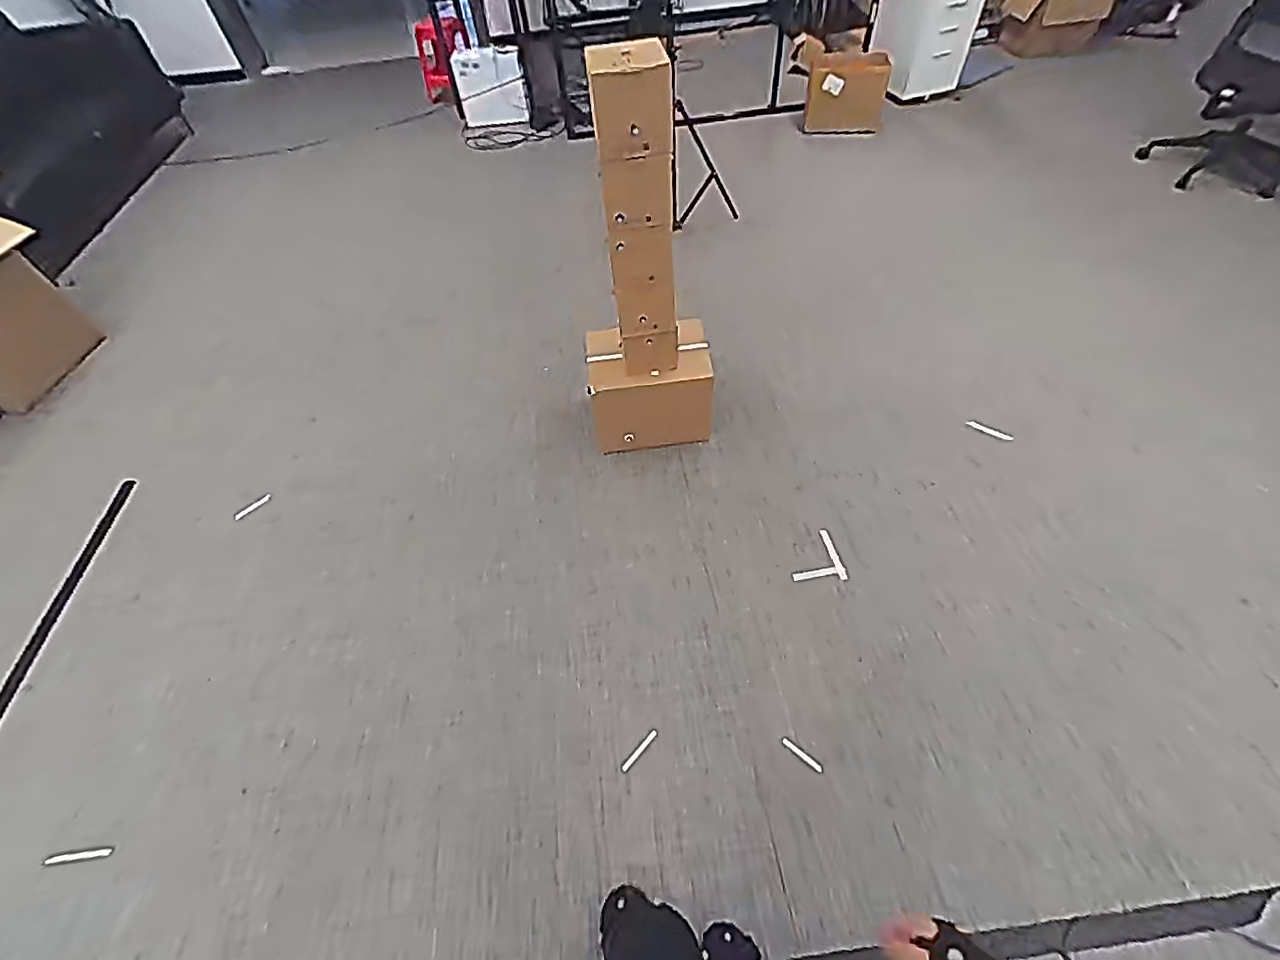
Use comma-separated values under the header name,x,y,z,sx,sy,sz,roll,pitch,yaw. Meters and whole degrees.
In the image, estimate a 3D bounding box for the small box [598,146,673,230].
name,x,y,z,sx,sy,sz,roll,pitch,yaw
small box,-0.010,-0.737,1.338,0.168,0.176,0.179,-7,53,0

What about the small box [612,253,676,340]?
name,x,y,z,sx,sy,sz,roll,pitch,yaw
small box,0.012,-0.543,1.602,0.168,0.176,0.179,-8,54,-1

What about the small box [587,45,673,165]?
name,x,y,z,sx,sy,sz,roll,pitch,yaw
small box,-0.022,-0.834,1.205,0.168,0.176,0.179,-9,54,-1

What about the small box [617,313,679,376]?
name,x,y,z,sx,sy,sz,roll,pitch,yaw
small box,0.027,-0.452,1.736,0.179,0.176,0.168,-9,53,-3
